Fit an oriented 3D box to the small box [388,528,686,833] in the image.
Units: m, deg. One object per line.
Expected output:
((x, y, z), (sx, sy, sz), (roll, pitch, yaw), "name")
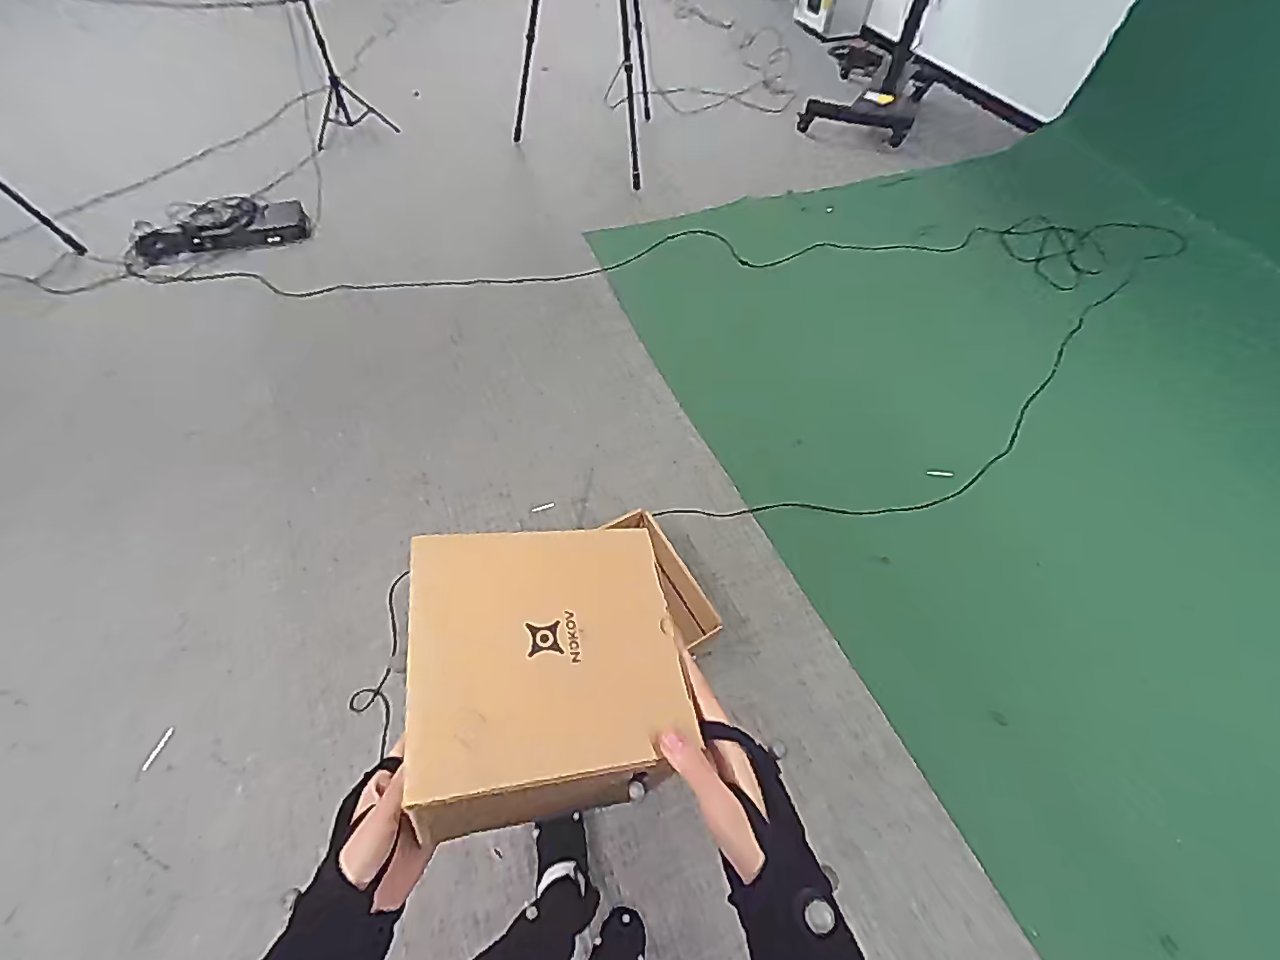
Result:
((-0.089, 0.153, 0.418), (0.179, 0.176, 0.168), (0, 53, -21), "small box")
